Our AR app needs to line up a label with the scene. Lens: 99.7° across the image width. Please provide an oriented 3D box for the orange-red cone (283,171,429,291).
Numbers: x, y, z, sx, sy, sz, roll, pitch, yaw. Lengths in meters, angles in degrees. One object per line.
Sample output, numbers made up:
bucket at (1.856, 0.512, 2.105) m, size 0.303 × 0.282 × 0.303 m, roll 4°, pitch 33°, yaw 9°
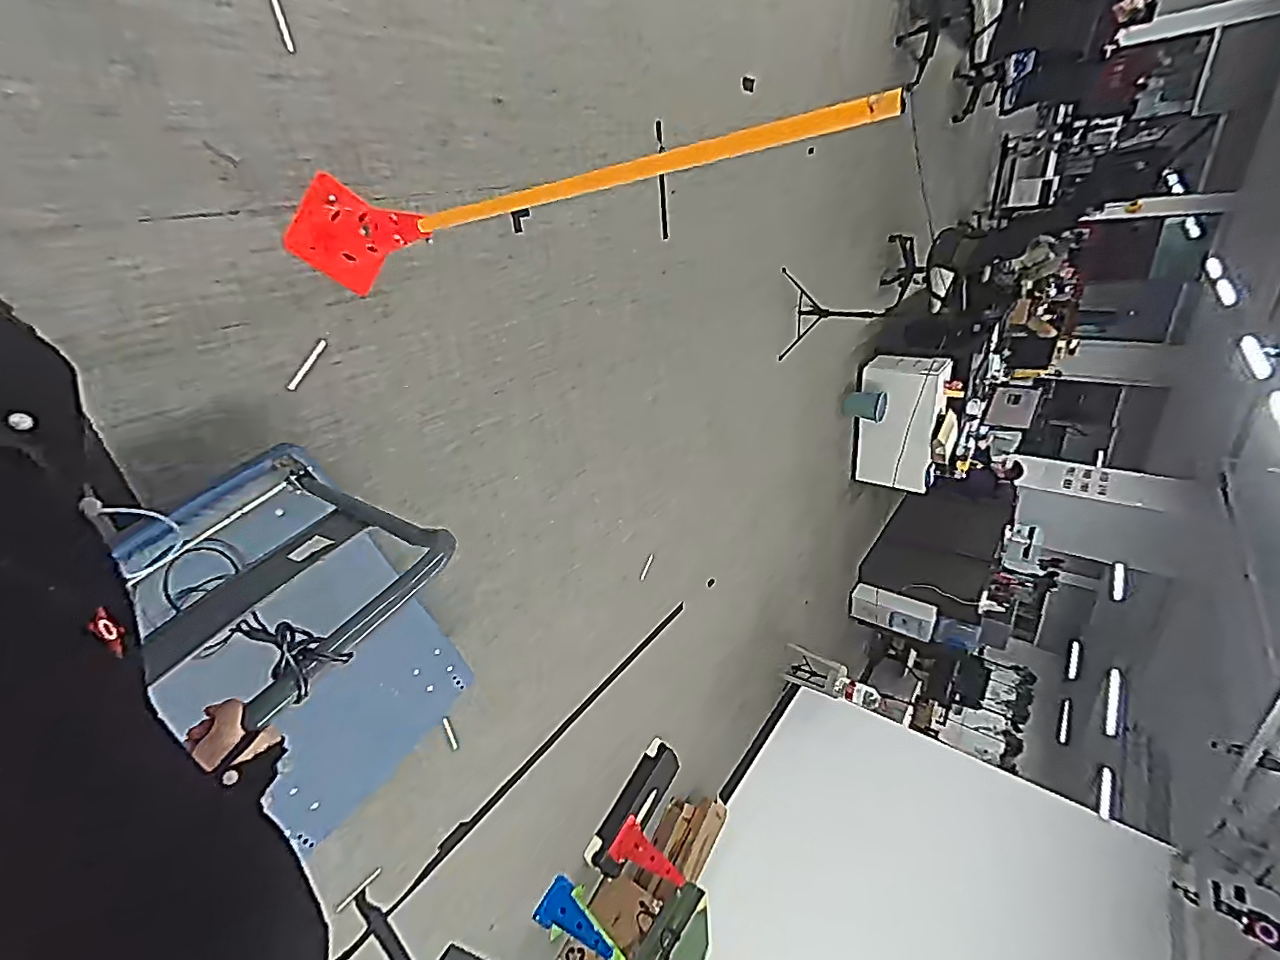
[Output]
orange-red cone at (-0.554, -0.529, 1.141) m, size 0.198 × 0.360 × 0.199 m, roll 33°, pitch 77°, yaw -52°
